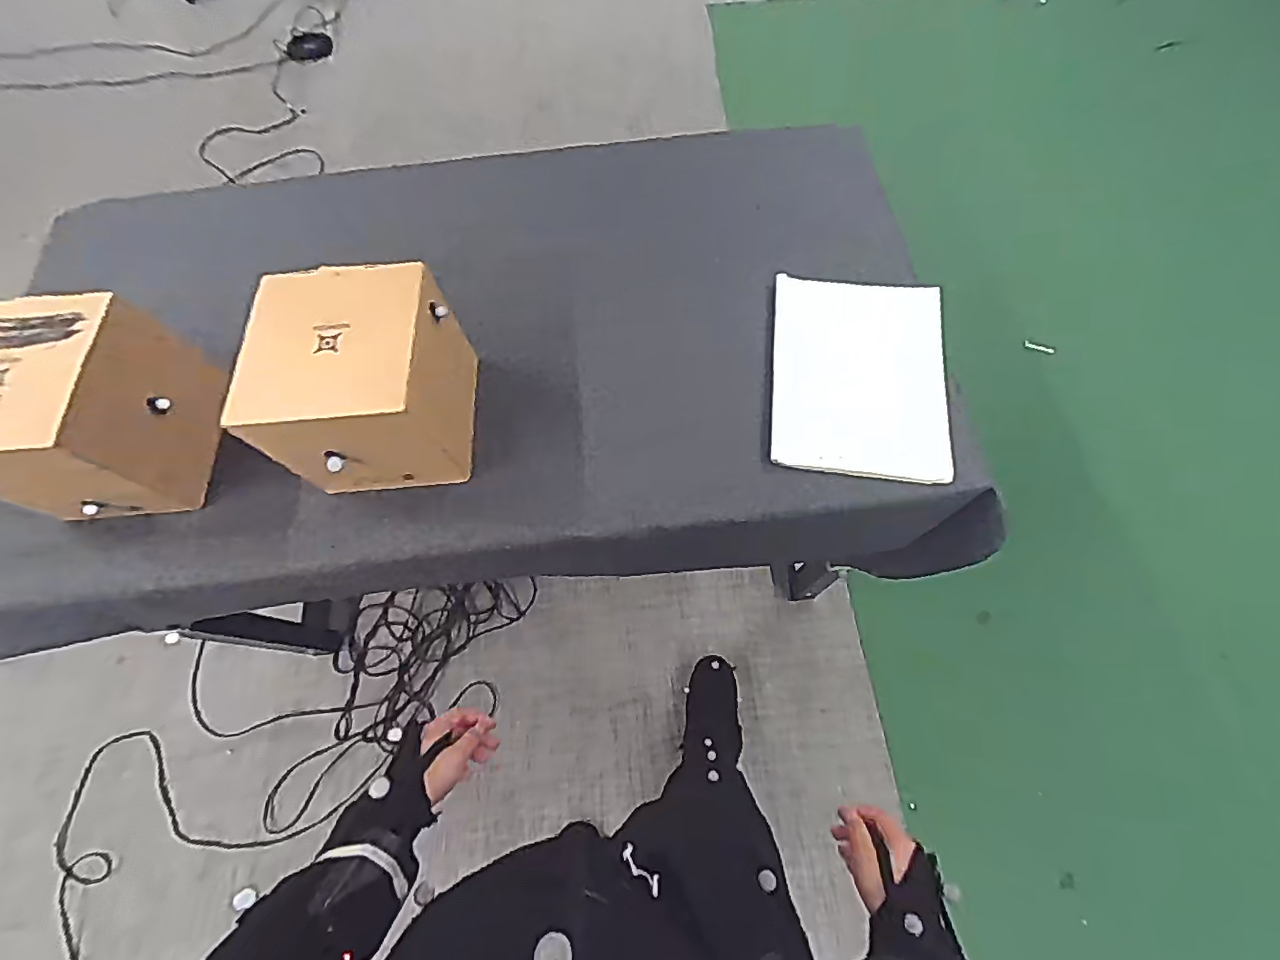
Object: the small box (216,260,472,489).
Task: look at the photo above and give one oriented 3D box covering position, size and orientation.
[{"bbox_3d":[-0.287,-0.098,0.570,0.168,0.176,0.179,-5,66,1],"label":"small box"}]
